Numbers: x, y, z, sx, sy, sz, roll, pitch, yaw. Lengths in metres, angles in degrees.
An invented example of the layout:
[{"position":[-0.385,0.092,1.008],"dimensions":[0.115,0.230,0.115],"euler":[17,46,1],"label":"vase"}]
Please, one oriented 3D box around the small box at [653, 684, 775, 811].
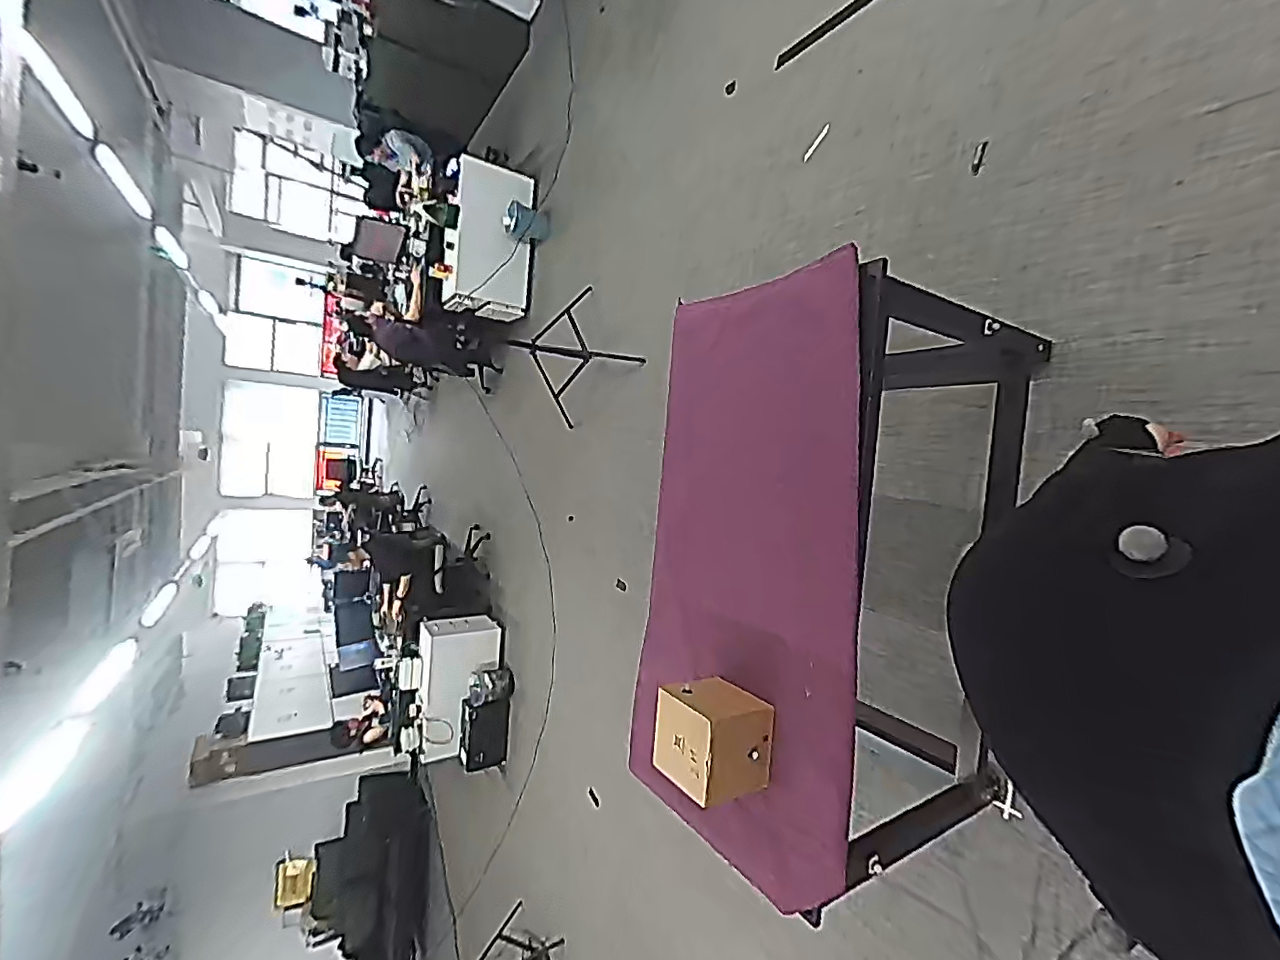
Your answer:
[{"position":[0.149,0.529,1.101],"dimensions":[0.179,0.176,0.168],"euler":[5,91,57],"label":"small box"}]
